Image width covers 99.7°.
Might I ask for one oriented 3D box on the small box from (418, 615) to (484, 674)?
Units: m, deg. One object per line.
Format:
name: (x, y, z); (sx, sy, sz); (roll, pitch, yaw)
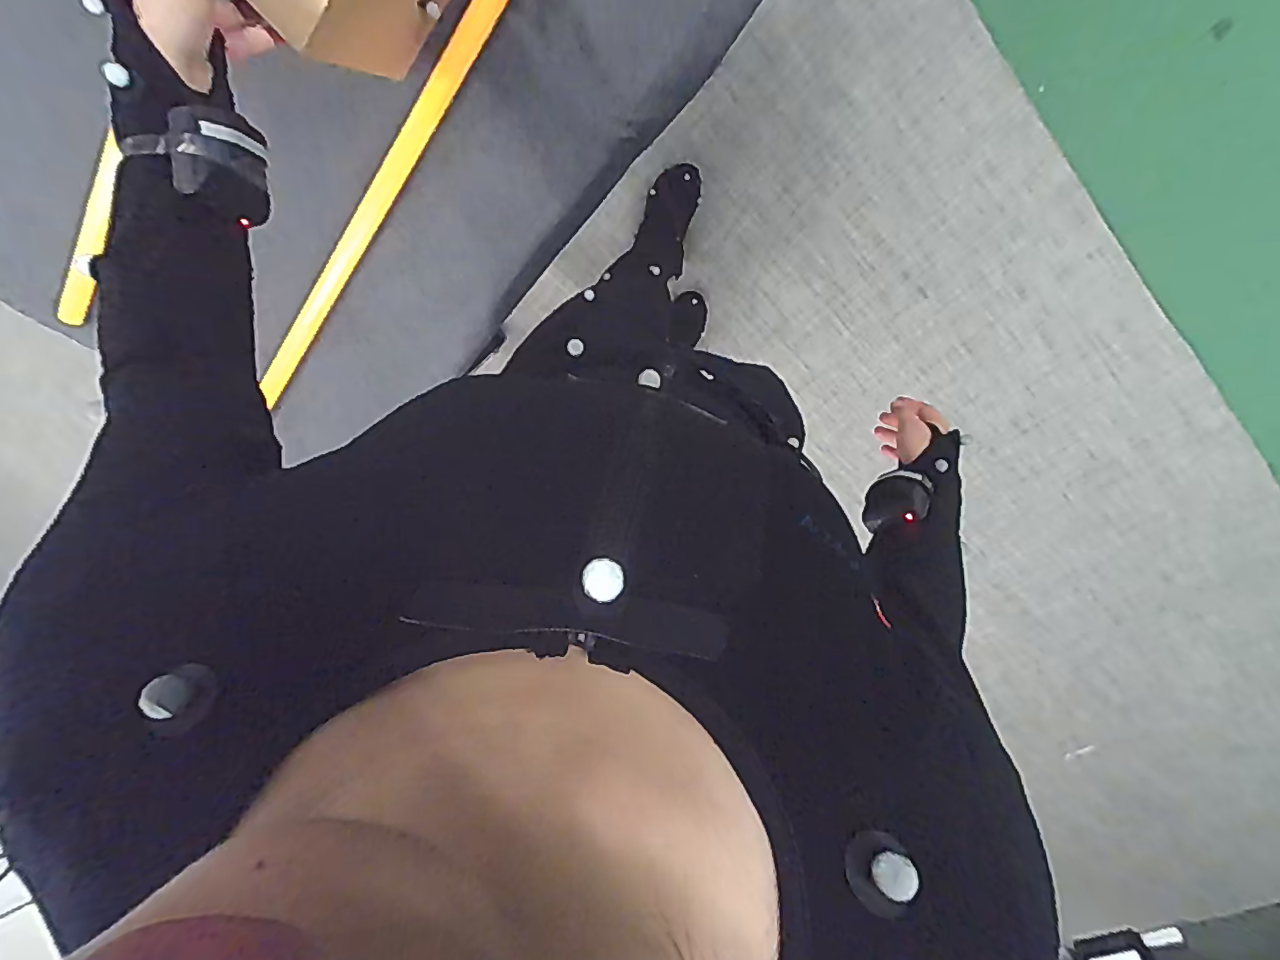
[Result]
small box: (-0.694, 0.634, 1.992); (0.168, 0.176, 0.179); (37, 118, -16)
